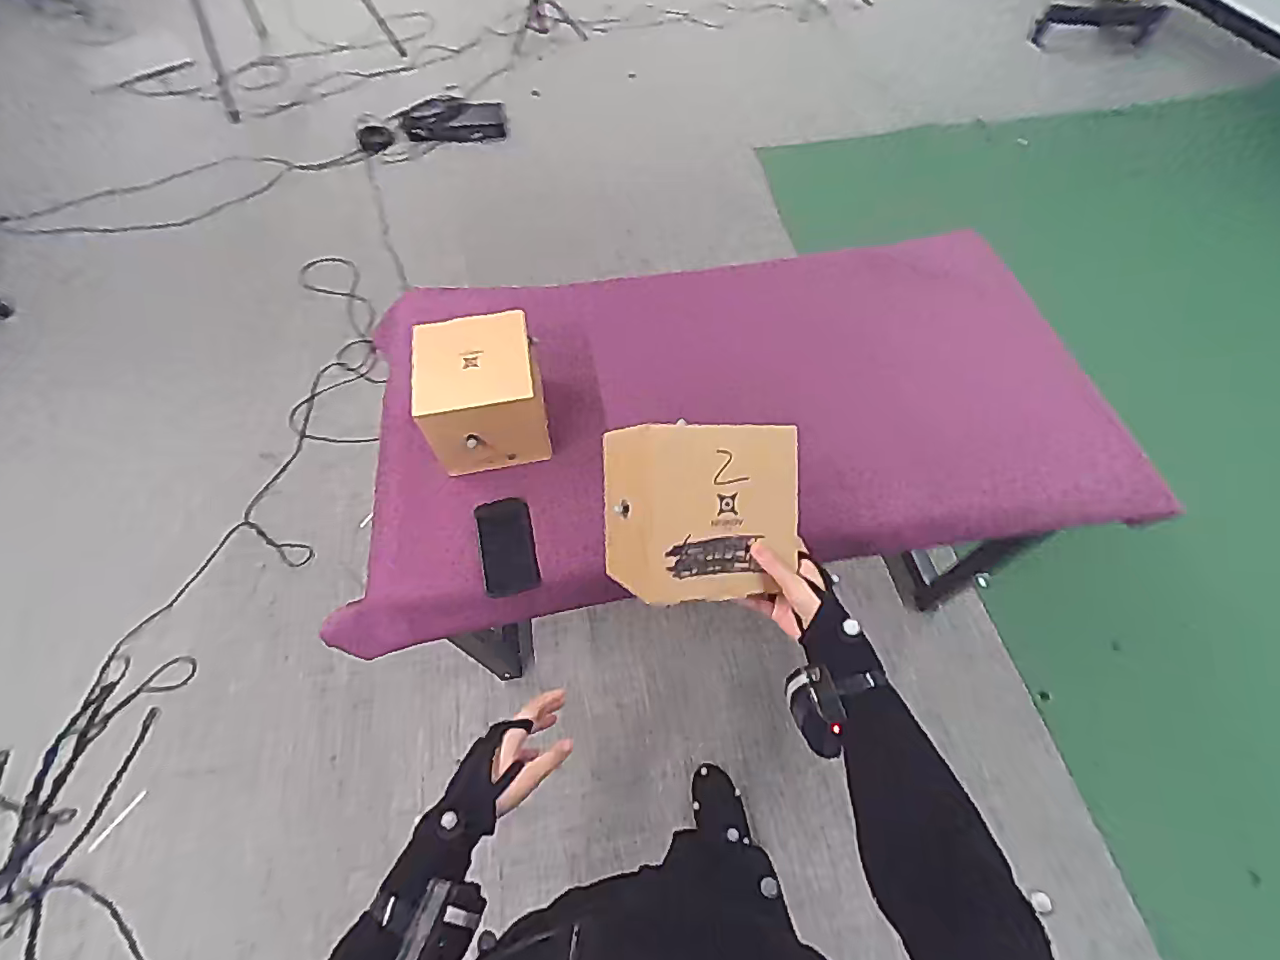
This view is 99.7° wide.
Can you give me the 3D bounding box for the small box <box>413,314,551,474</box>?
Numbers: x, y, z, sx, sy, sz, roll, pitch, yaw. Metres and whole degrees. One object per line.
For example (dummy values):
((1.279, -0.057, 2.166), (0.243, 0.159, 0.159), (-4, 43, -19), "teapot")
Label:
((-0.238, -0.124, 0.842), (0.168, 0.176, 0.179), (-10, 59, -5), "small box")
